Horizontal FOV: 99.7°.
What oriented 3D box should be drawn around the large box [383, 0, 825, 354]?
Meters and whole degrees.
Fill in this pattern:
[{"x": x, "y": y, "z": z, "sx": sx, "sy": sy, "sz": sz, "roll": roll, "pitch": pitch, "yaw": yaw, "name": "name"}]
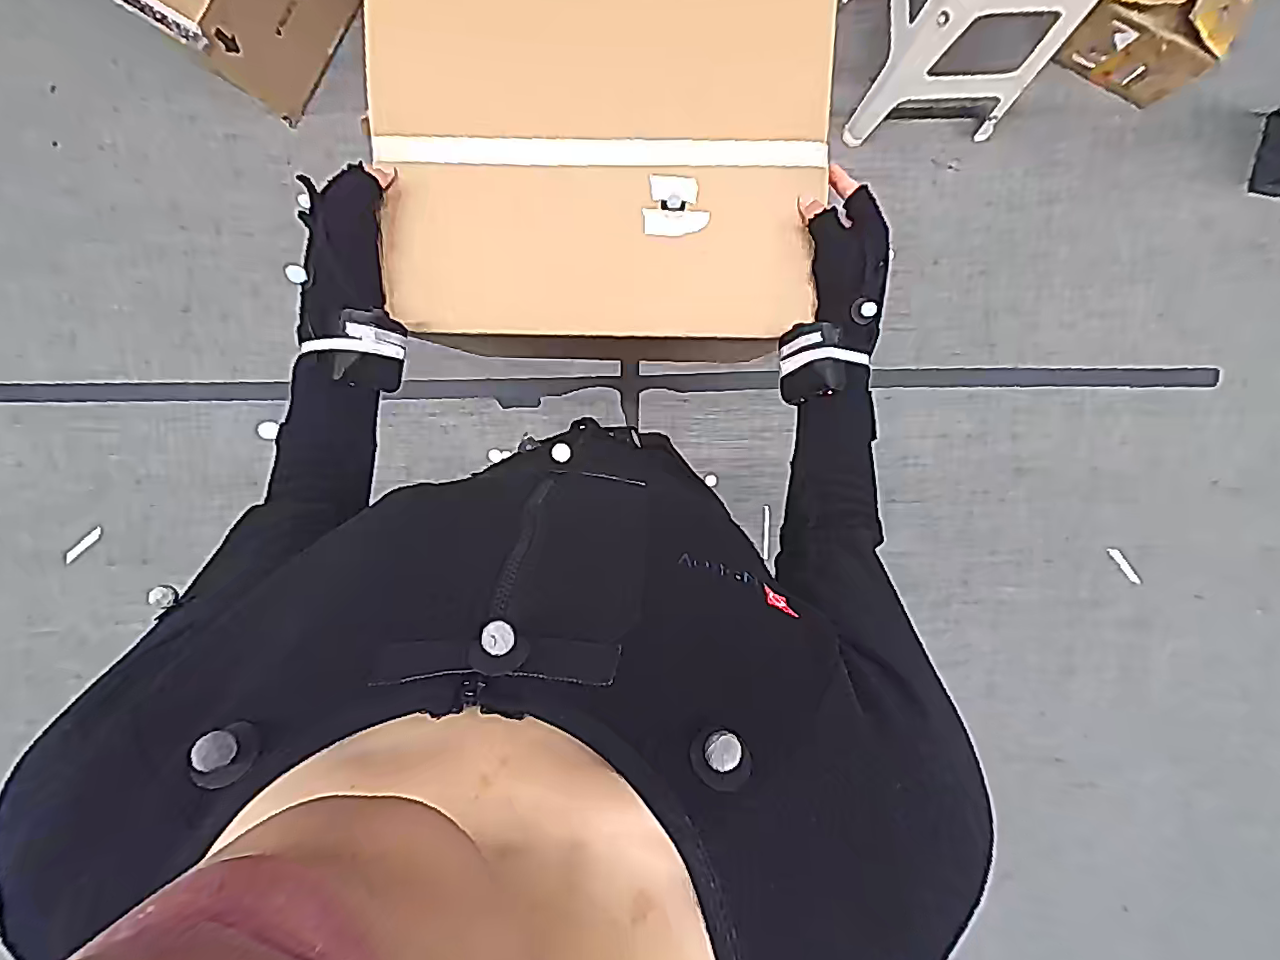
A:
[{"x": -0.036, "y": -0.322, "z": 0.649, "sx": 0.408, "sy": 0.320, "sz": 0.320, "roll": 1, "pitch": 99, "yaw": -1, "name": "large box"}]
